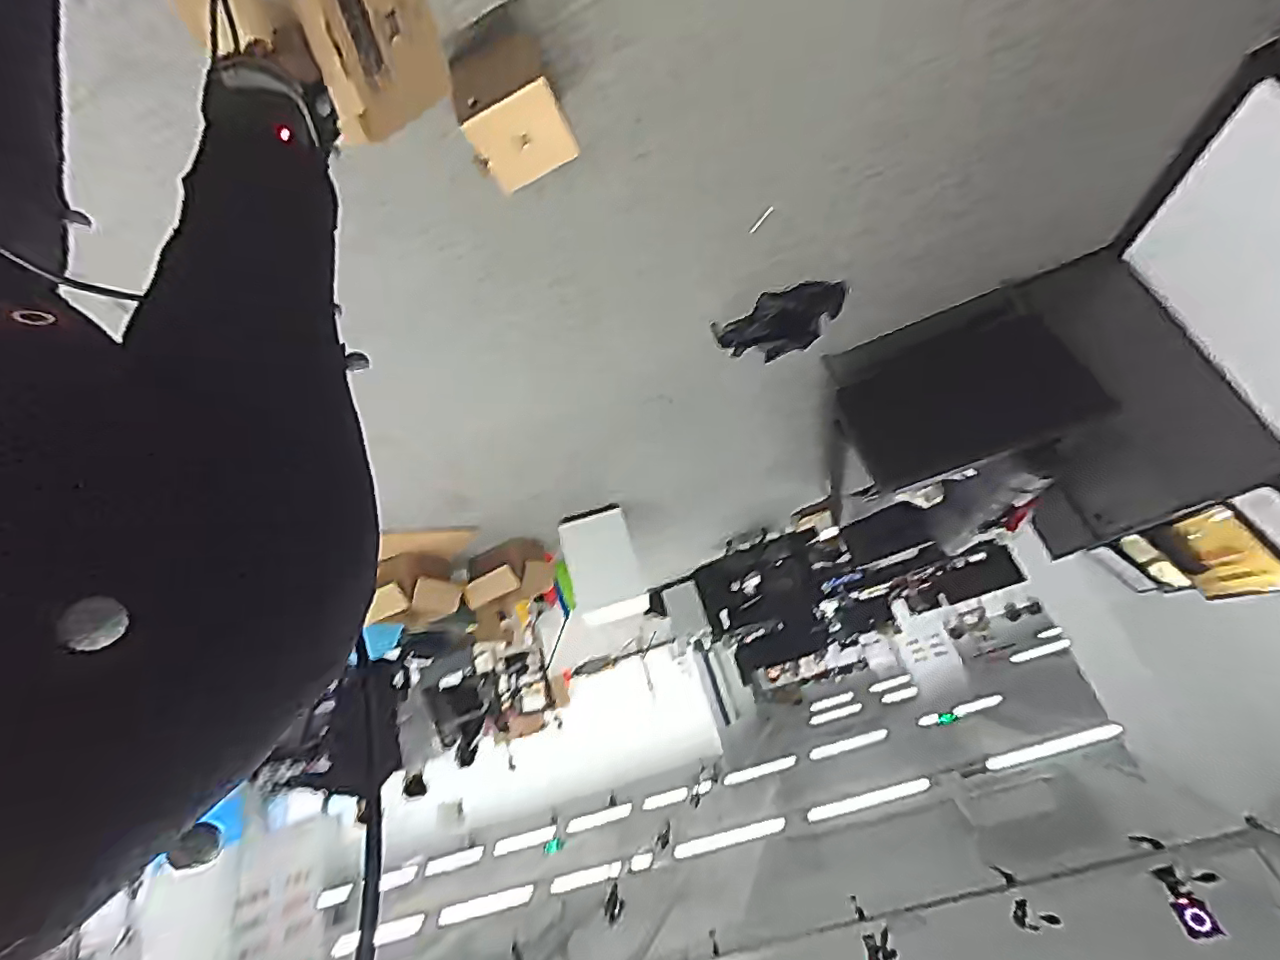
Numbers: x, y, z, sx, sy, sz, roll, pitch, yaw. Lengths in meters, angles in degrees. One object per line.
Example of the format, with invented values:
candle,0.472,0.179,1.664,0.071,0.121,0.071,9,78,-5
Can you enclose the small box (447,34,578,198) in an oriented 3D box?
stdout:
small box,-0.248,-0.702,1.048,0.179,0.176,0.168,-23,158,11
